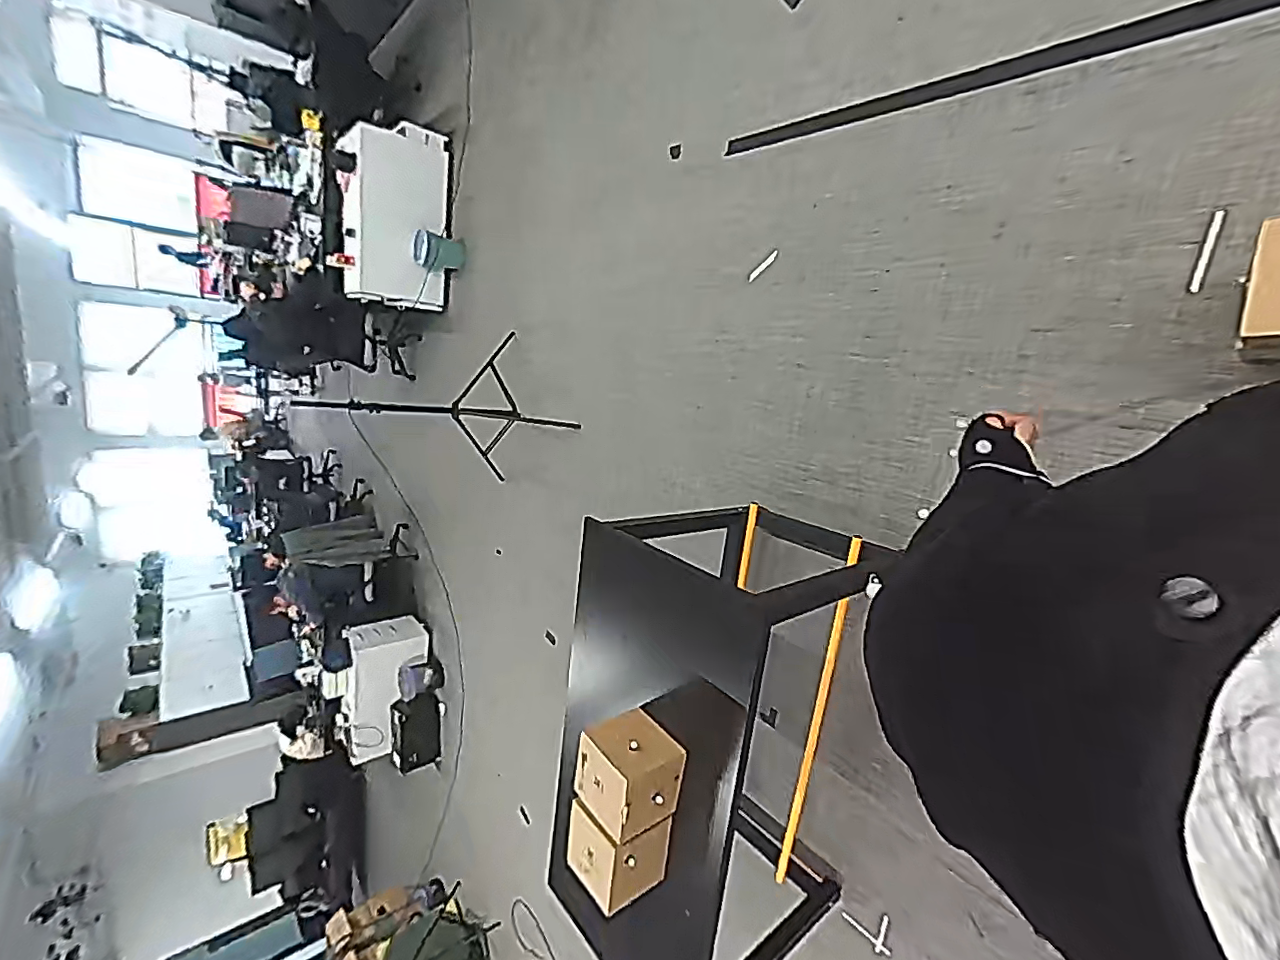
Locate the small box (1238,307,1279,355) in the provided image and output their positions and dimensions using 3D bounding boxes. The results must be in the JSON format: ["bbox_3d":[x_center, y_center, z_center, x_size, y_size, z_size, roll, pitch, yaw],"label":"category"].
[{"bbox_3d":[1.145,-0.298,0.895,0.179,0.176,0.168,17,106,48],"label":"small box"}]

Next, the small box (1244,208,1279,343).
[{"bbox_3d":[1.023,-0.300,0.788,0.168,0.176,0.179,12,103,50],"label":"small box"}]
